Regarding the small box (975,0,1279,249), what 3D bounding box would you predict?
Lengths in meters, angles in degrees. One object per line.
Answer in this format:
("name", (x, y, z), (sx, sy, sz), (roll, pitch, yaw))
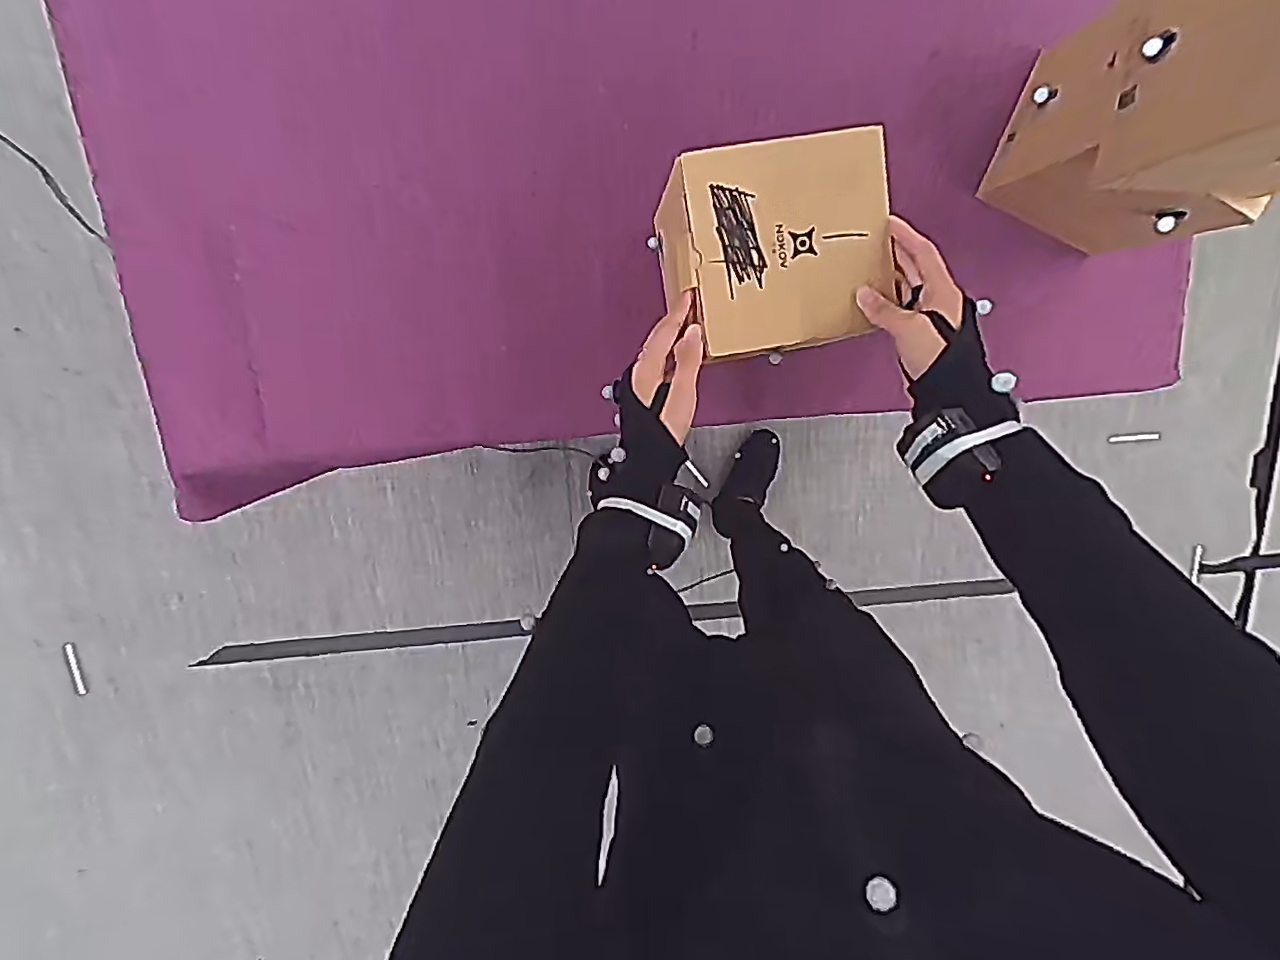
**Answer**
("small box", (0.497, -0.353, 0.545), (0.179, 0.176, 0.168), (20, 99, -9))
